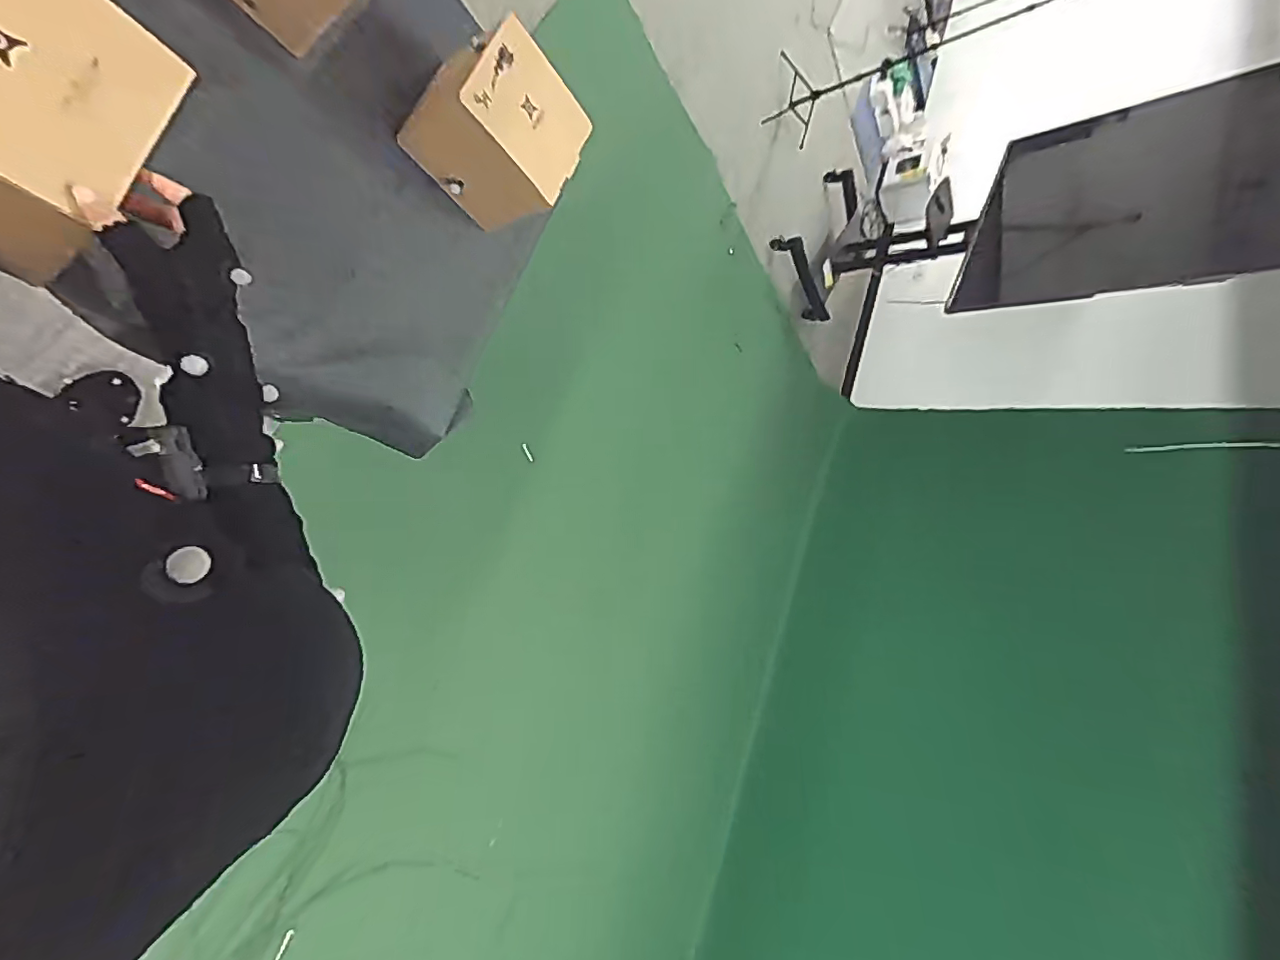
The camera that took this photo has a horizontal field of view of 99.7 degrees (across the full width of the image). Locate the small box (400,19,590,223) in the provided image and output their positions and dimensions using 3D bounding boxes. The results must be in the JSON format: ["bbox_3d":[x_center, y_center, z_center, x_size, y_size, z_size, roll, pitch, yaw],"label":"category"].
[{"bbox_3d":[-0.212,-0.510,0.802,0.179,0.176,0.168,38,65,-46],"label":"small box"}]
